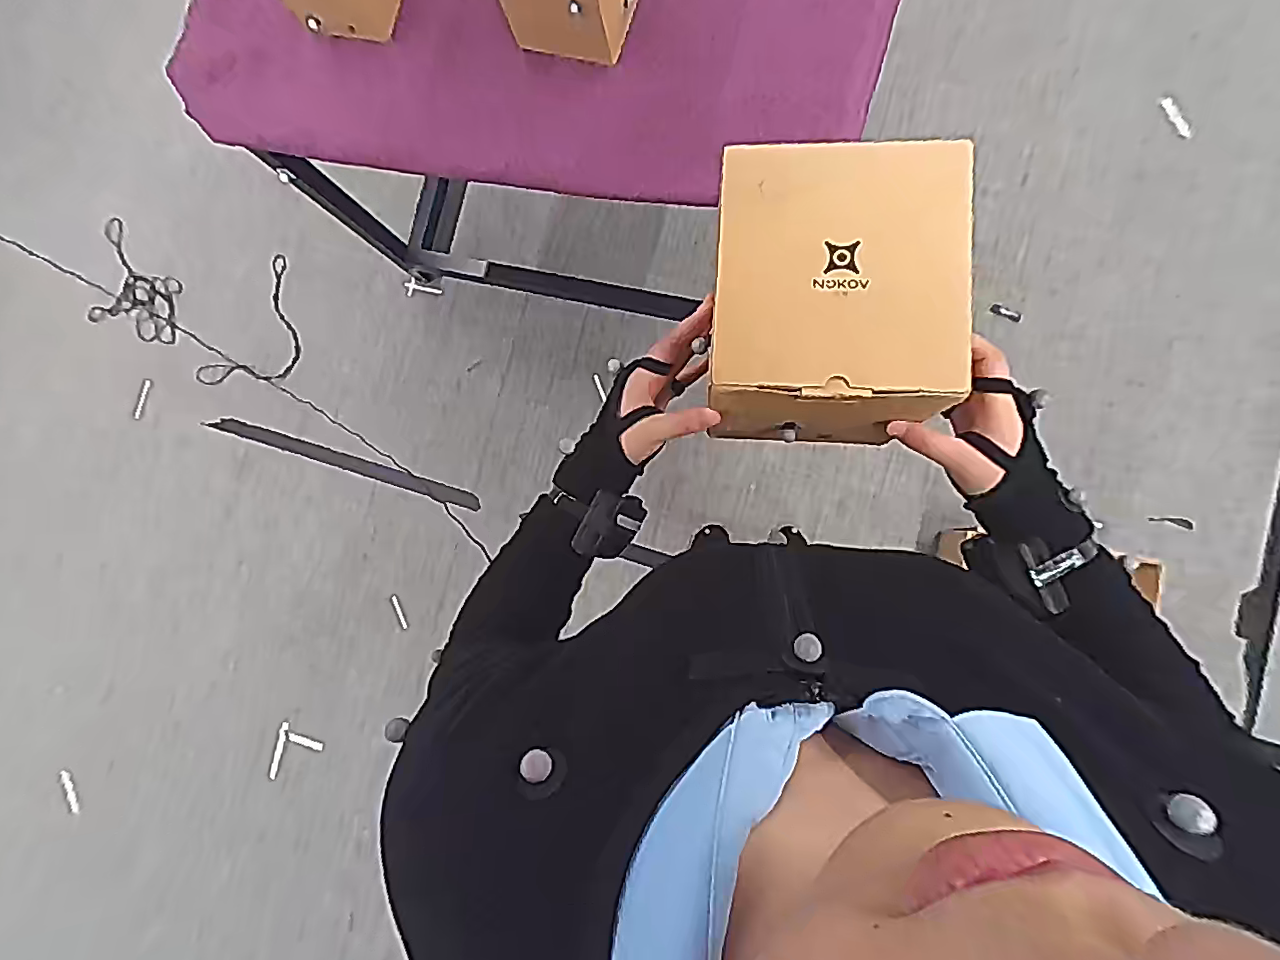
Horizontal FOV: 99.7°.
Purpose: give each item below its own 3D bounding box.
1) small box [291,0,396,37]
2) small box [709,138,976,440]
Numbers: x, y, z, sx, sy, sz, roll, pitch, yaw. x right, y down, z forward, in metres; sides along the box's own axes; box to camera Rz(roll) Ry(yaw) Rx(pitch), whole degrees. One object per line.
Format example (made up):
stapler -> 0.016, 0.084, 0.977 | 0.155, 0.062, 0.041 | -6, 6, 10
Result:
small box -> -0.512, -0.888, 0.895 | 0.168, 0.176, 0.179 | 15, 88, 10
small box -> 0.143, -0.137, 0.437 | 0.168, 0.176, 0.179 | 3, 84, 7
